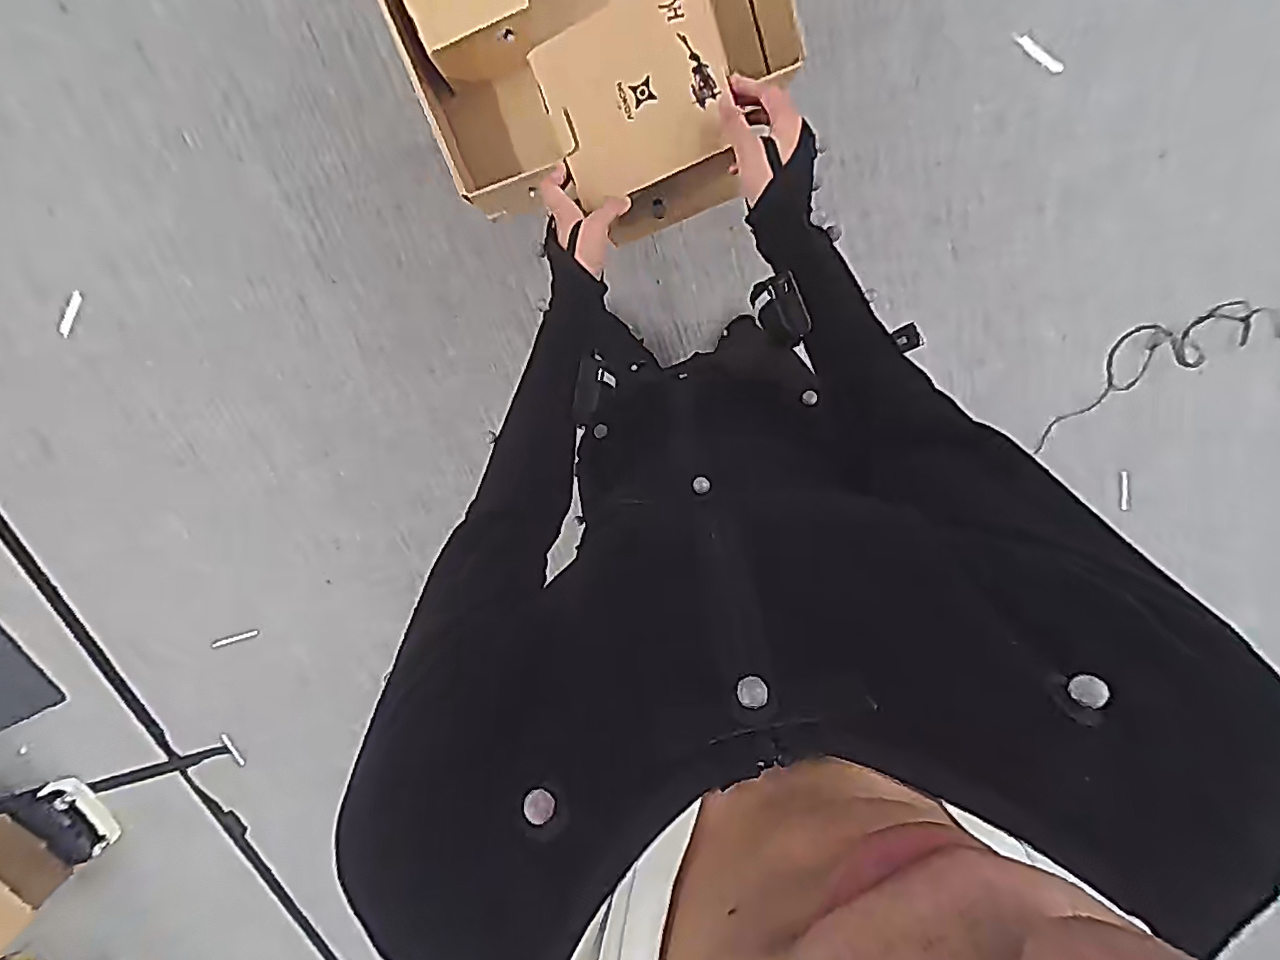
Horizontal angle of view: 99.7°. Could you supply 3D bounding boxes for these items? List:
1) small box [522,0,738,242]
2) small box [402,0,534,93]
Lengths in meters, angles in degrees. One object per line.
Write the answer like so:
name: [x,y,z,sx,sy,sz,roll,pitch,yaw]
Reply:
small box: [0.003,-0.390,0.604,0.179,0.176,0.168,-19,98,14]
small box: [-0.282,-0.774,0.873,0.179,0.176,0.168,-22,107,4]
